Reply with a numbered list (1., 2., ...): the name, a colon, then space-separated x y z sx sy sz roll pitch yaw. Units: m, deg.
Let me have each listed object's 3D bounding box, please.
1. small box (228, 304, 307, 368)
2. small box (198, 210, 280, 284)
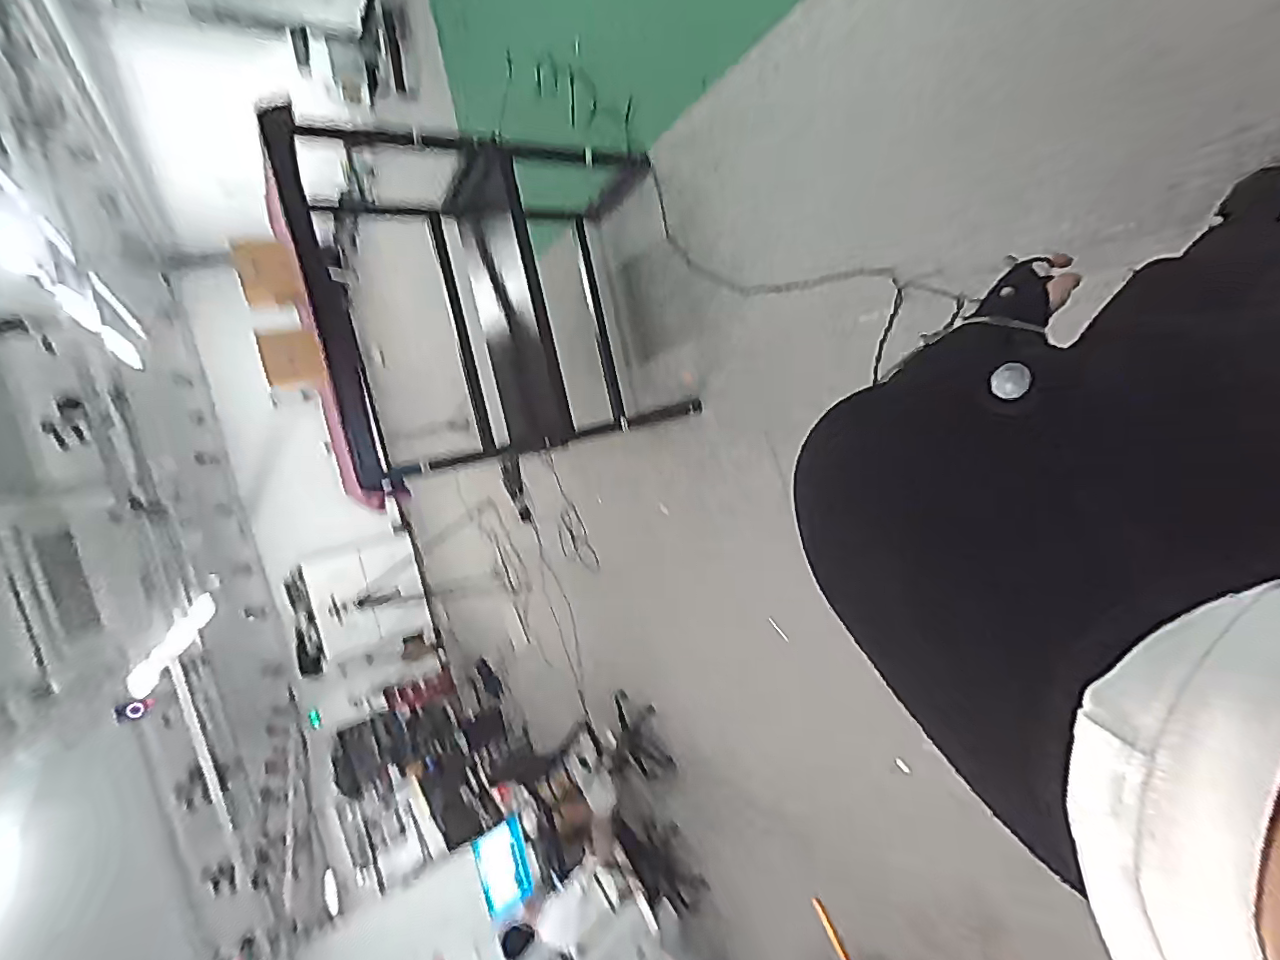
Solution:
1. small box: -1.208 -0.469 1.757 0.168 0.176 0.179 8 112 56
2. small box: -1.259 -0.736 1.712 0.168 0.176 0.179 1 105 57
